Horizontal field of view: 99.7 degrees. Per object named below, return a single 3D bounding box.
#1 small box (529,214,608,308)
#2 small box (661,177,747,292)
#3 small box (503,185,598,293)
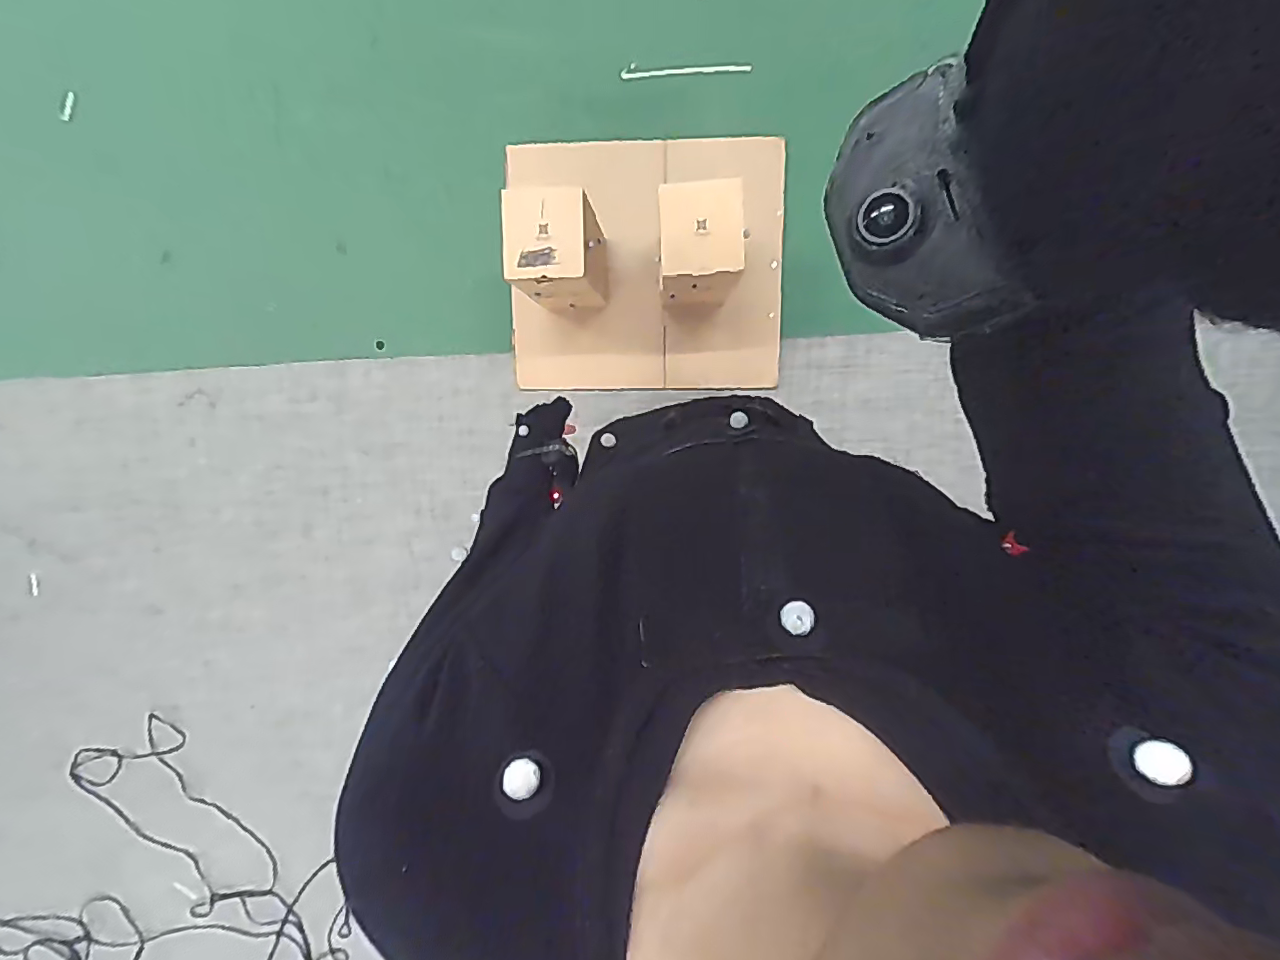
[{"bbox_3d":[-0.170,-0.522,1.308,0.168,0.176,0.179,-1,98,5],"label":"small box"},{"bbox_3d":[0.128,-0.504,1.130,0.168,0.176,0.179,-3,98,4],"label":"small box"},{"bbox_3d":[-0.182,-0.500,1.146,0.168,0.176,0.179,1,98,4],"label":"small box"}]
